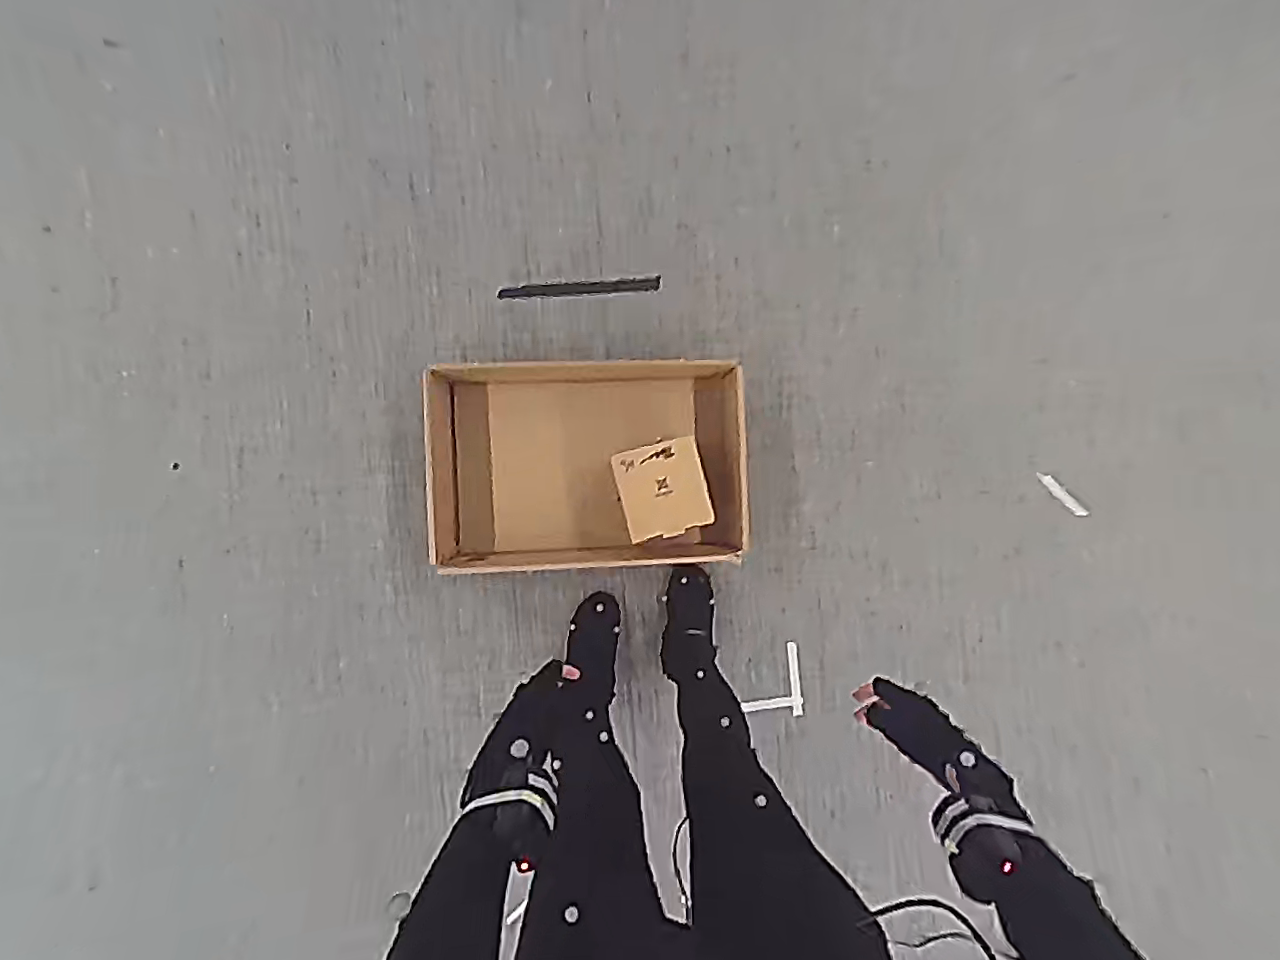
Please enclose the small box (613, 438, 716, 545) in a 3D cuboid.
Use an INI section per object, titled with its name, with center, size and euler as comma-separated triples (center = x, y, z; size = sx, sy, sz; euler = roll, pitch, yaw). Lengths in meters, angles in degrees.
[small box]
center = 0.044, 0.019, 1.100
size = 0.168, 0.176, 0.179
euler = -14, 91, -4
